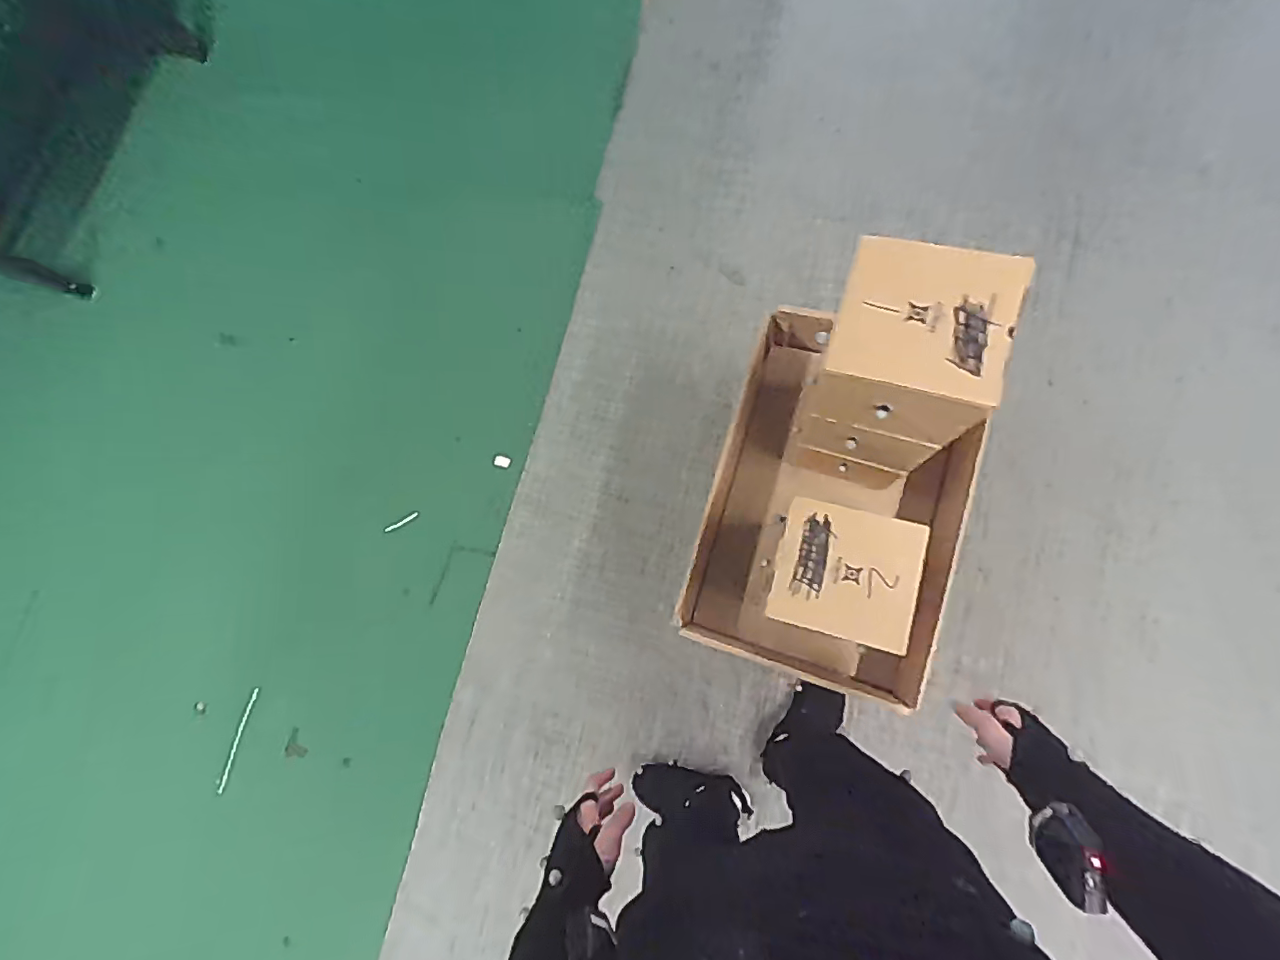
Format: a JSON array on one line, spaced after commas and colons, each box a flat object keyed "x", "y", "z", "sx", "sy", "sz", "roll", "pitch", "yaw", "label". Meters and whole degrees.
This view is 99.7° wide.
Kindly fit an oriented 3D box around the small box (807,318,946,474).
[{"x": 0.360, "y": -0.119, "z": 0.809, "sx": 0.179, "sy": 0.176, "sz": 0.168, "roll": 18, "pitch": 84, "yaw": 15, "label": "small box"}]

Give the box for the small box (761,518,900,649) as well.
[{"x": 0.314, "y": 0.174, "z": 0.922, "sx": 0.179, "sy": 0.176, "sz": 0.168, "roll": 15, "pitch": 80, "yaw": 14, "label": "small box"}]

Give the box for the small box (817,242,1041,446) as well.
[{"x": 0.328, "y": -0.150, "z": 0.650, "sx": 0.179, "sy": 0.176, "sz": 0.168, "roll": 17, "pitch": 83, "yaw": 15, "label": "small box"}]

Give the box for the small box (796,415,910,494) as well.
[{"x": 0.390, "y": -0.085, "z": 0.967, "sx": 0.179, "sy": 0.176, "sz": 0.168, "roll": 19, "pitch": 83, "yaw": 14, "label": "small box"}]
